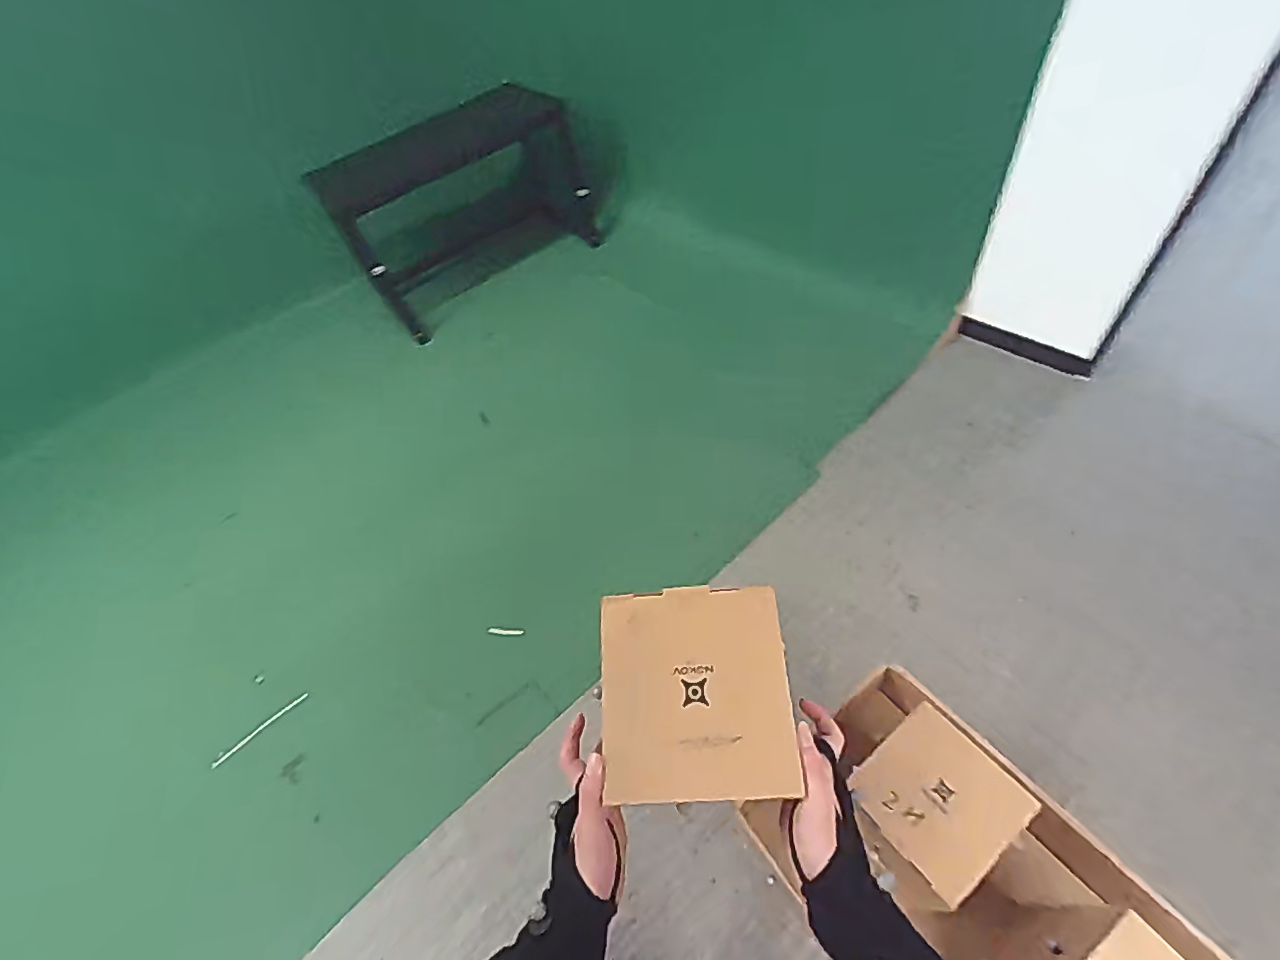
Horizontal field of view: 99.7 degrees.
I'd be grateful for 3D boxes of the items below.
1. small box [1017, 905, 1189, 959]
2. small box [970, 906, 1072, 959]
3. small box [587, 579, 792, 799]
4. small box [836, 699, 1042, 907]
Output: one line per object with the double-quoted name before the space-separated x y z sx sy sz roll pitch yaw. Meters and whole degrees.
"small box" 0.533 0.611 0.592 0.179 0.176 0.168 -33 54 -13
"small box" 0.563 0.709 0.721 0.179 0.176 0.168 -35 53 -12
"small box" 0.042 0.209 0.537 0.168 0.176 0.179 -4 63 3
"small box" 0.394 0.445 0.749 0.179 0.176 0.168 -35 53 -14
